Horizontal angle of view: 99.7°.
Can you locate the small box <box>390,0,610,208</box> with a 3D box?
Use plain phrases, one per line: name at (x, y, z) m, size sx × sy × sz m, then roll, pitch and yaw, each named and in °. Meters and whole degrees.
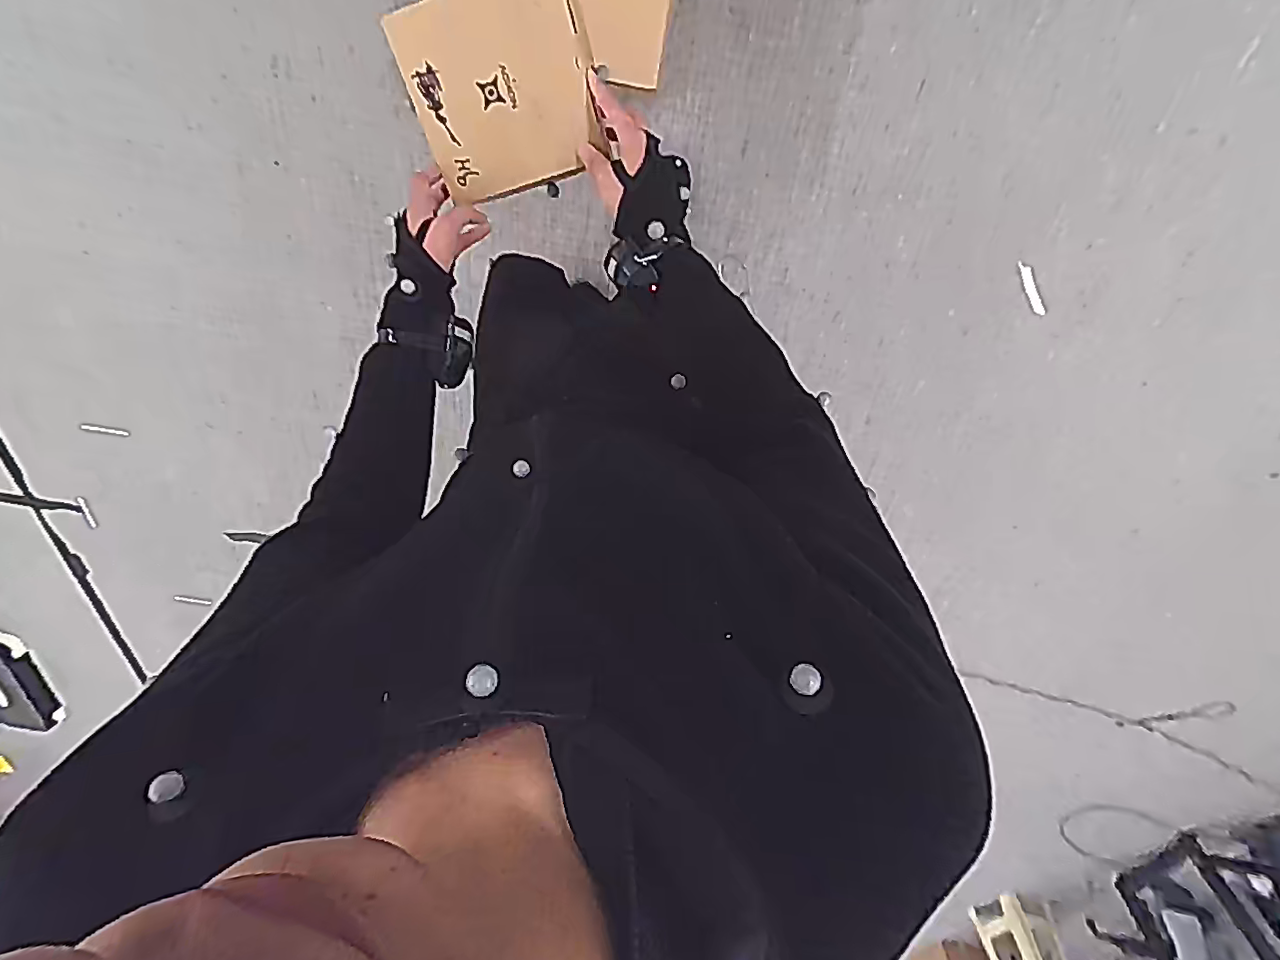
small box at (-0.136, -0.422, 0.608) m, size 0.179 × 0.176 × 0.168 m, roll -12°, pitch 119°, yaw 8°
